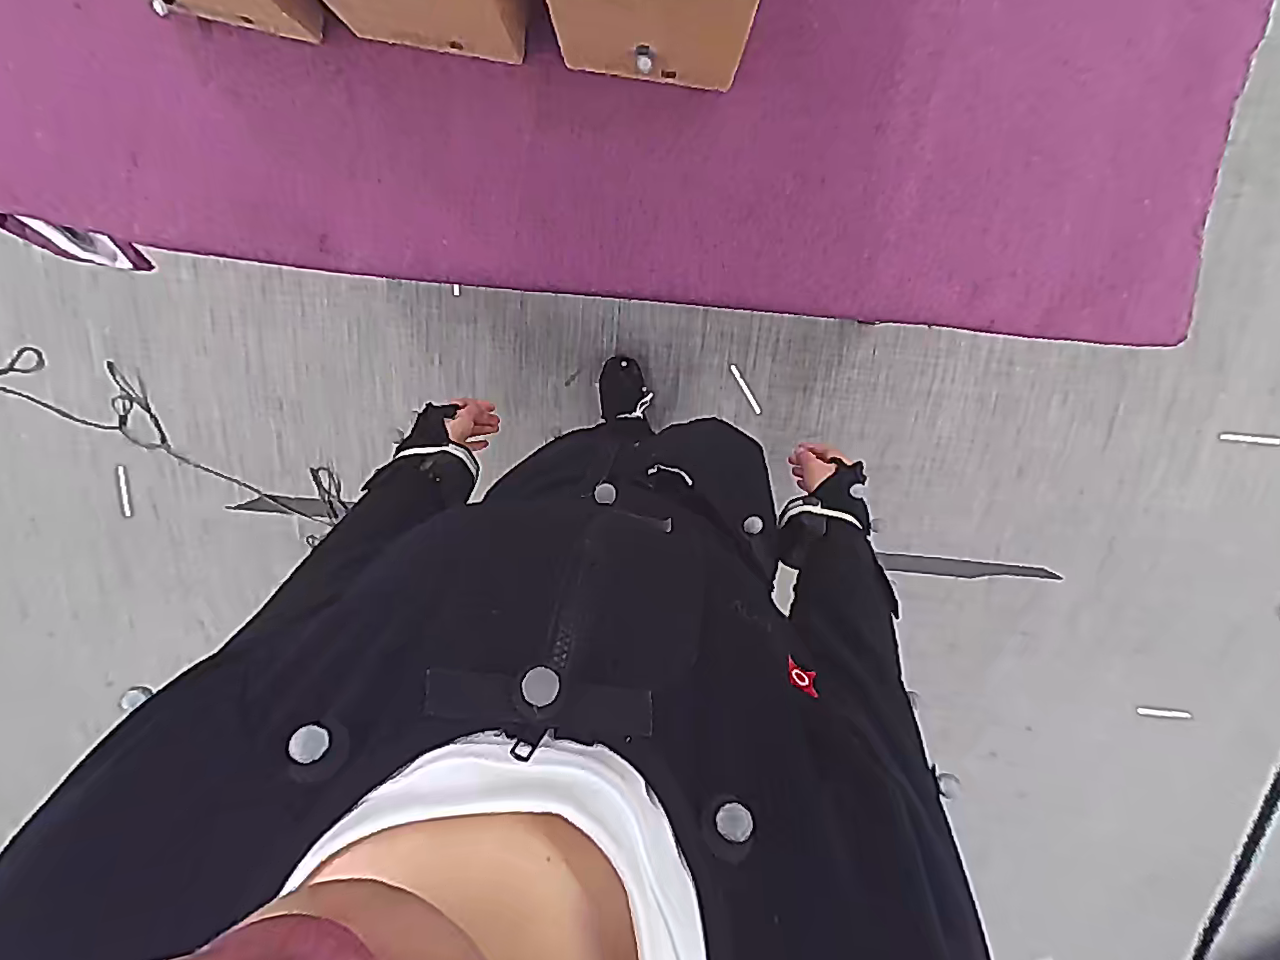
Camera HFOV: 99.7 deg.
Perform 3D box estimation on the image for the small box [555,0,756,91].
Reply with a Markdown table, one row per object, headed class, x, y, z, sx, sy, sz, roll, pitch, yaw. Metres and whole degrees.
| class | x | y | z | sx | sy | sz | roll | pitch | yaw |
| --- | --- | --- | --- | --- | --- | --- | --- | --- | --- |
| small box | 0.017 | -0.460 | 0.437 | 0.168 | 0.176 | 0.179 | 8 | 104 | -1 |
